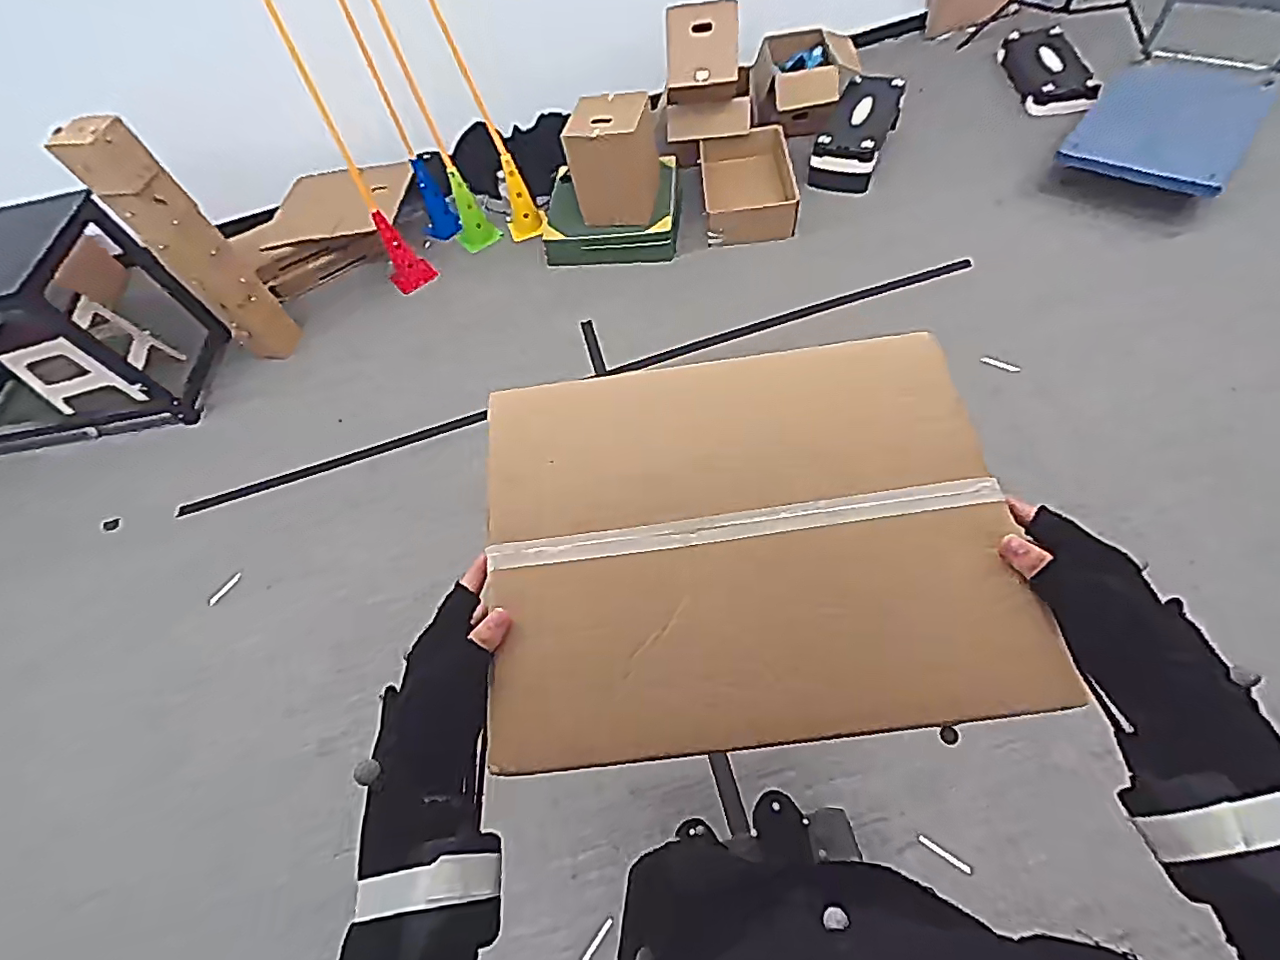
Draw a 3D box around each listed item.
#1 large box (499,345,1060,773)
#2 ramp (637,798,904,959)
[{"bbox_3d":[0.097,0.099,0.577,0.408,0.320,0.320,-8,66,2],"label":"large box"},{"bbox_3d":[0.366,1.224,1.035,0.509,0.206,0.991,-18,59,-3],"label":"ramp"}]
